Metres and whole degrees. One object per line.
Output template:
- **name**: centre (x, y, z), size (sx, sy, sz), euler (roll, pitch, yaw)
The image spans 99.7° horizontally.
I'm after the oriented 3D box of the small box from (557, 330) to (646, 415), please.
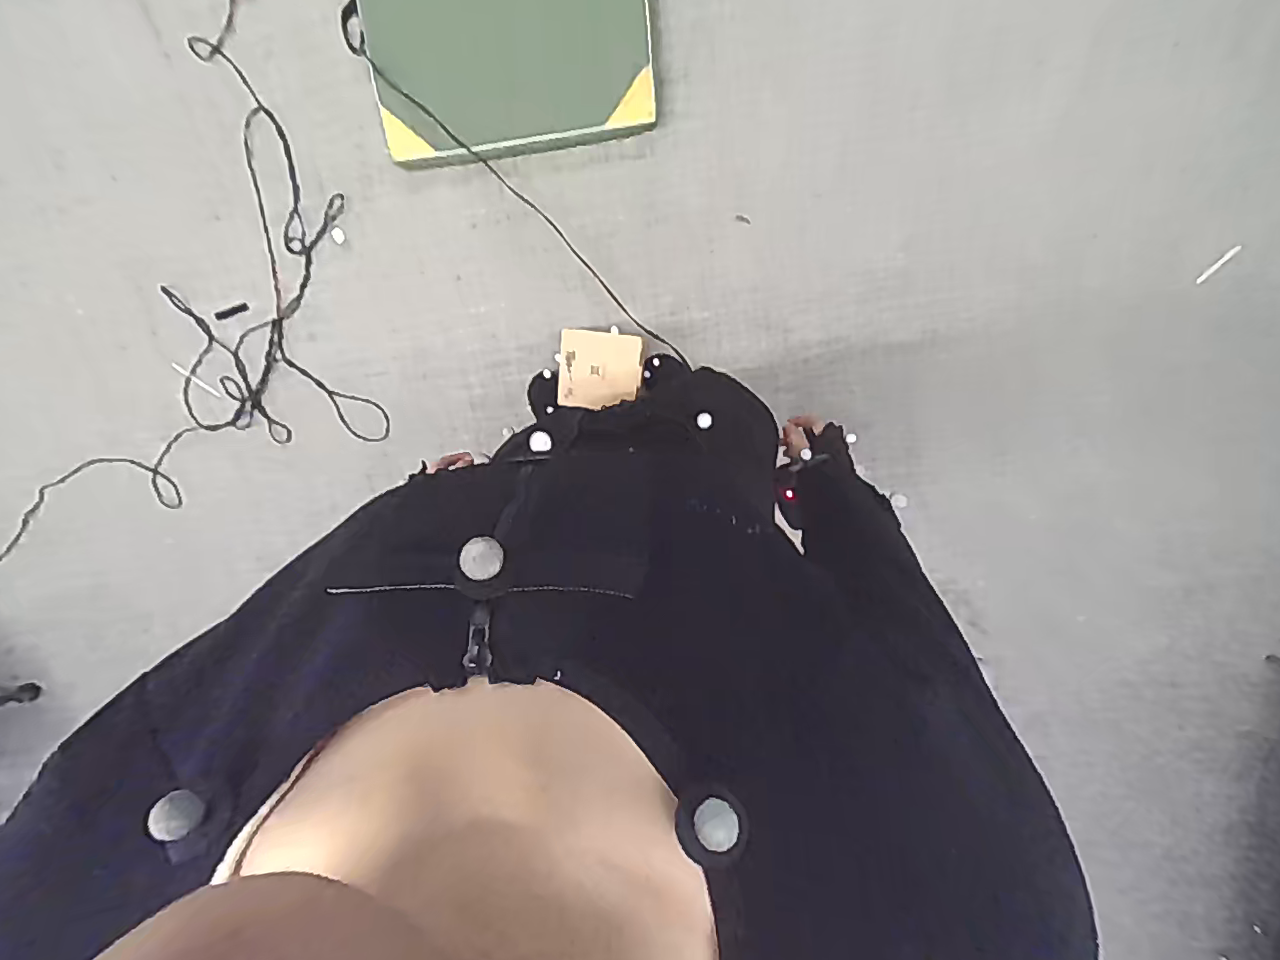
- **small box**: centre (-0.082, -0.249, 1.233), size (0.179, 0.176, 0.168), euler (7, 105, 2)
